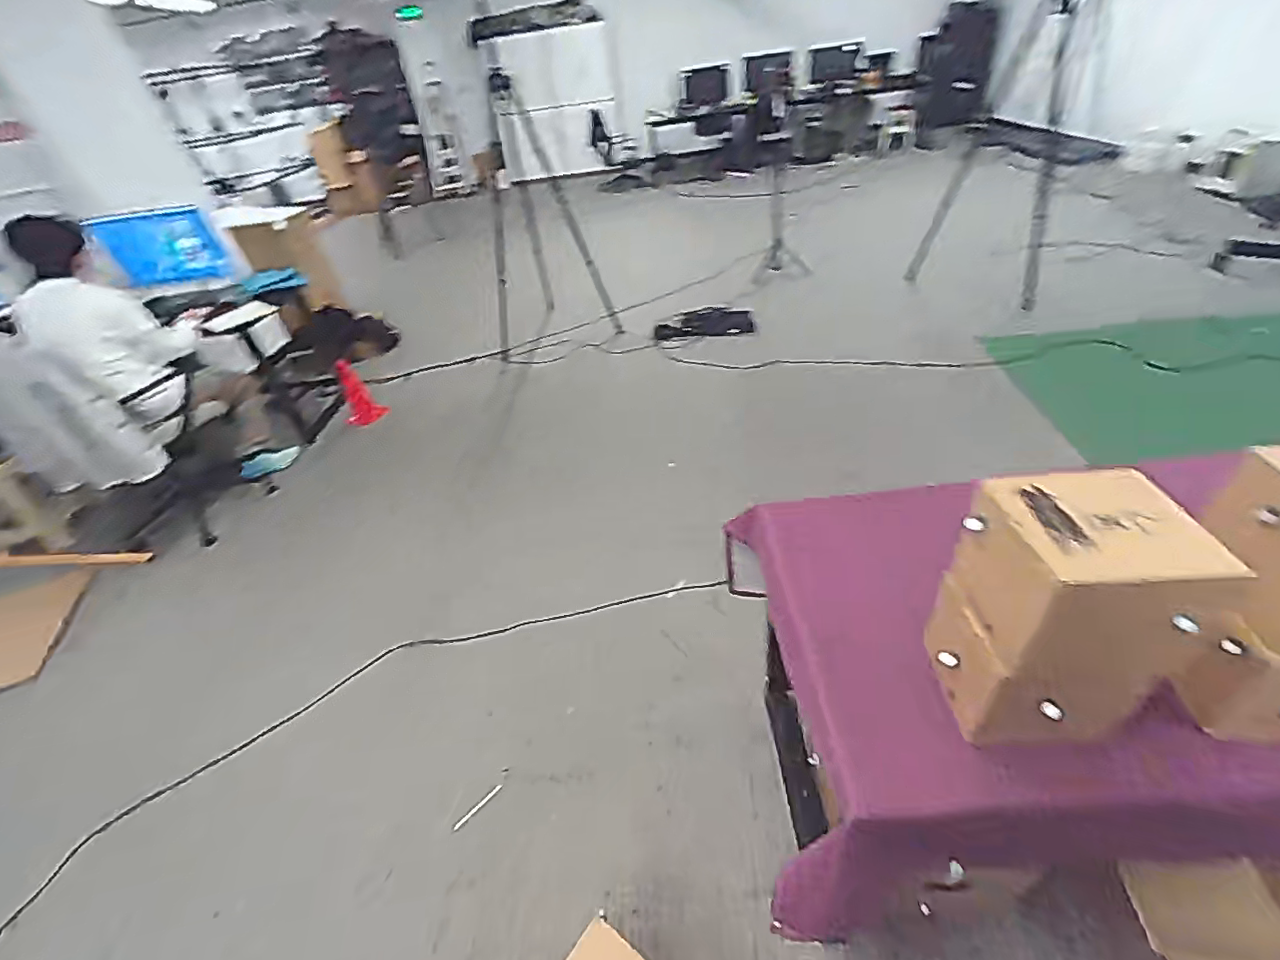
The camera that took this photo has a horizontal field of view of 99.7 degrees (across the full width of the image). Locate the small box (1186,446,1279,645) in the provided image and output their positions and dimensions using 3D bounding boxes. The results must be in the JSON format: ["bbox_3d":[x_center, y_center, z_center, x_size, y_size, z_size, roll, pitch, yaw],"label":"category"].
[{"bbox_3d":[0.792,0.077,0.610,0.168,0.176,0.179,-1,40,11],"label":"small box"}]

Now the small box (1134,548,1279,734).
[{"bbox_3d":[0.812,0.209,0.707,0.168,0.176,0.179,-2,40,10],"label":"small box"}]

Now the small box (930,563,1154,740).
[{"bbox_3d":[0.516,0.235,0.734,0.179,0.176,0.168,-5,39,7],"label":"small box"}]
